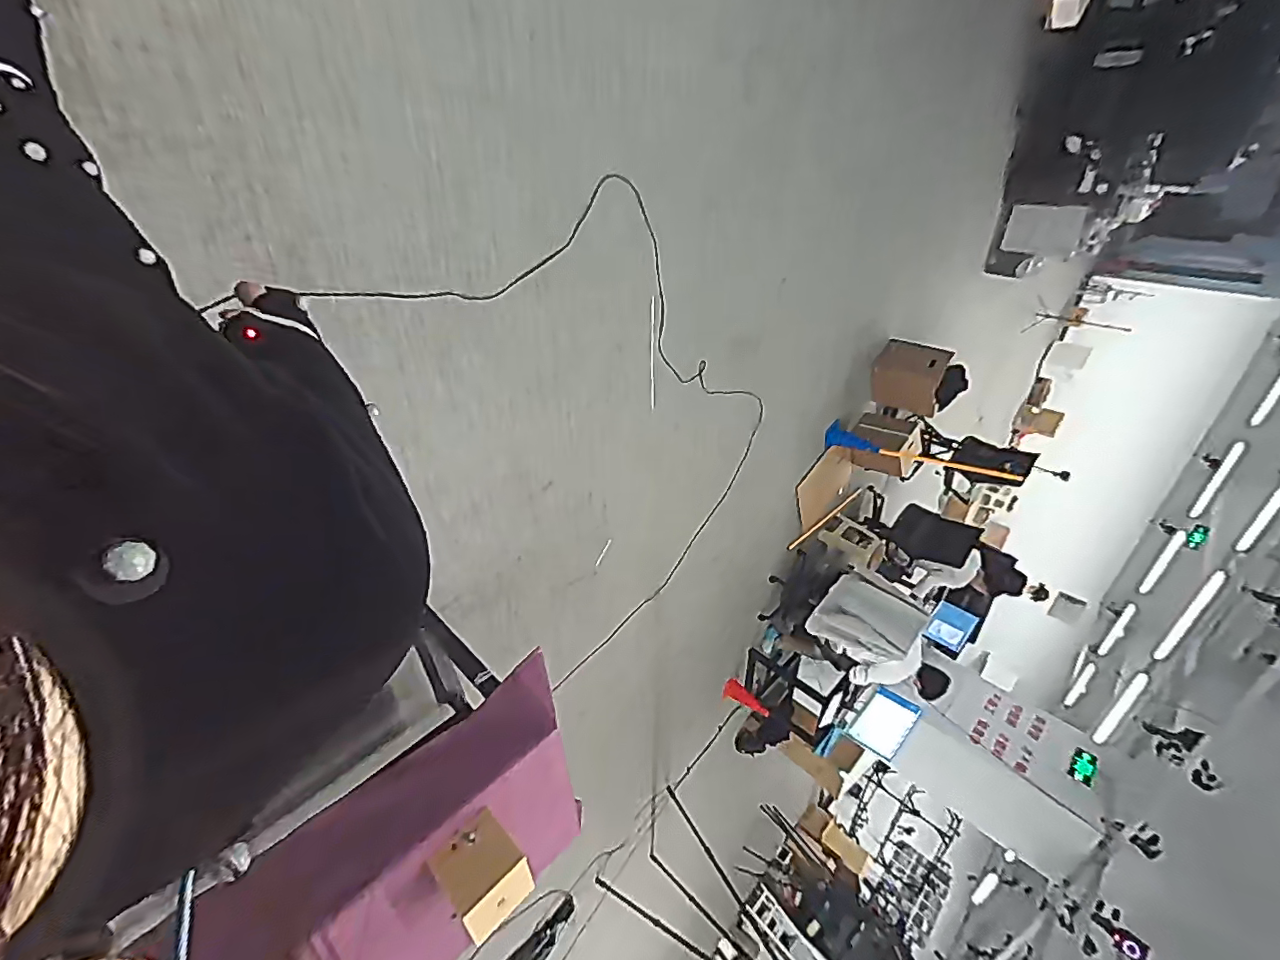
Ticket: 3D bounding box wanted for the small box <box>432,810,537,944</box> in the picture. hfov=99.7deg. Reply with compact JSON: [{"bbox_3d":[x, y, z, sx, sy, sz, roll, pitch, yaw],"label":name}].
[{"bbox_3d":[-0.371,0.943,1.299,0.168,0.176,0.179,-30,132,-35],"label":"small box"}]
